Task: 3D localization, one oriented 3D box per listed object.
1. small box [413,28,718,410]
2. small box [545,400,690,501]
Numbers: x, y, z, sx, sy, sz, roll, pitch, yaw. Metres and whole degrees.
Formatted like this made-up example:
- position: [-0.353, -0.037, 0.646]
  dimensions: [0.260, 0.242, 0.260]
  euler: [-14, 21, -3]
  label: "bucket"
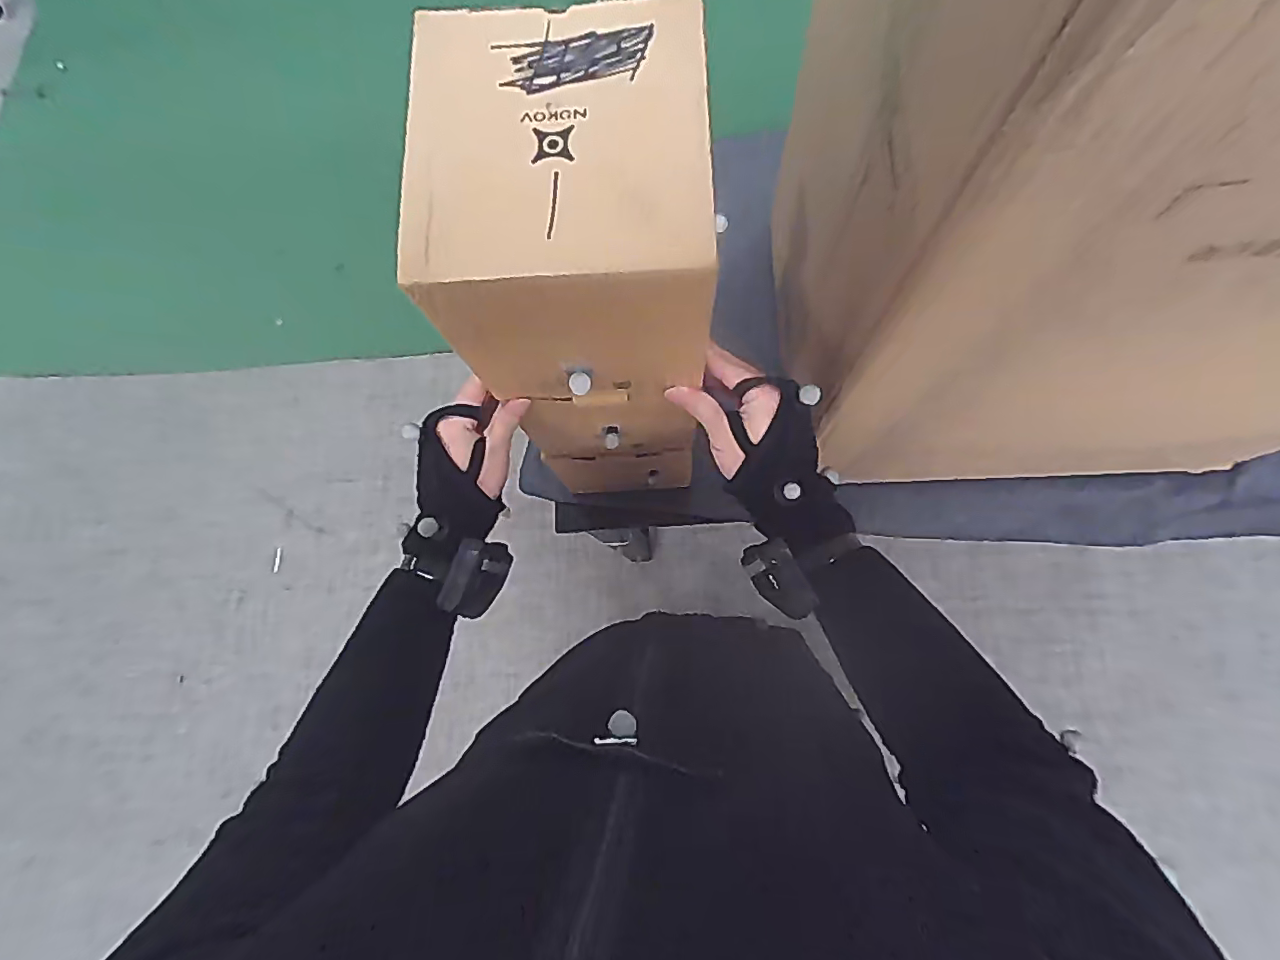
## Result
- position: [-0.038, -0.164, 0.382]
  dimensions: [0.168, 0.176, 0.179]
  euler: [-3, 77, 3]
  label: "small box"
- position: [-0.023, -0.074, 0.699]
  dimensions: [0.168, 0.176, 0.179]
  euler: [-5, 73, 2]
  label: "small box"
